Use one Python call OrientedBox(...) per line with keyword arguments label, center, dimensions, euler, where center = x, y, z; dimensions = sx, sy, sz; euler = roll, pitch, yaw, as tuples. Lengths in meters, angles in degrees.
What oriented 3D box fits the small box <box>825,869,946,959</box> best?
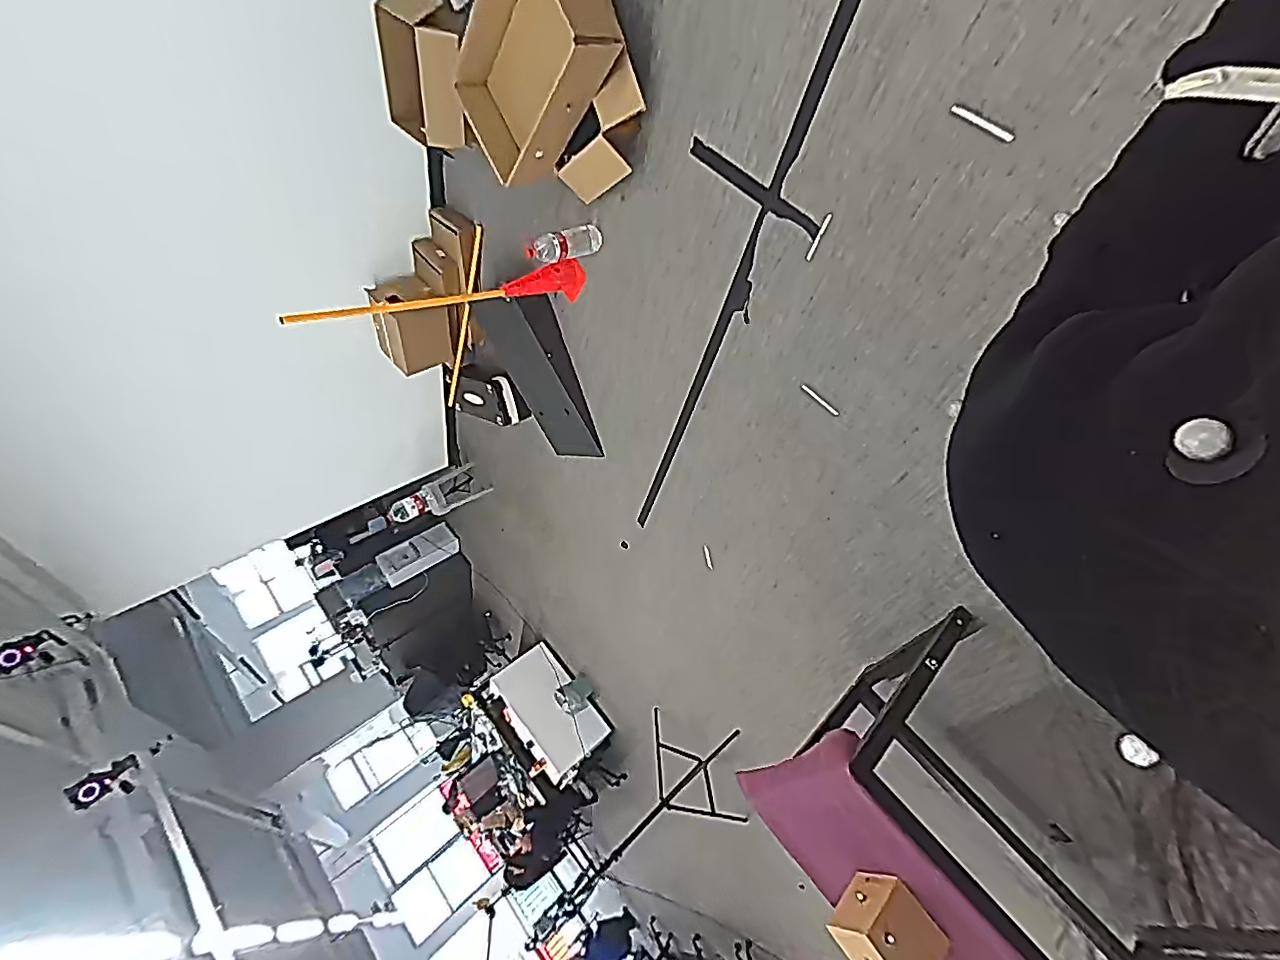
OrientedBox(label="small box", center=(0.608, 1.111, 1.343), dimensions=(0.179, 0.176, 0.168), euler=(50, 147, 14))
